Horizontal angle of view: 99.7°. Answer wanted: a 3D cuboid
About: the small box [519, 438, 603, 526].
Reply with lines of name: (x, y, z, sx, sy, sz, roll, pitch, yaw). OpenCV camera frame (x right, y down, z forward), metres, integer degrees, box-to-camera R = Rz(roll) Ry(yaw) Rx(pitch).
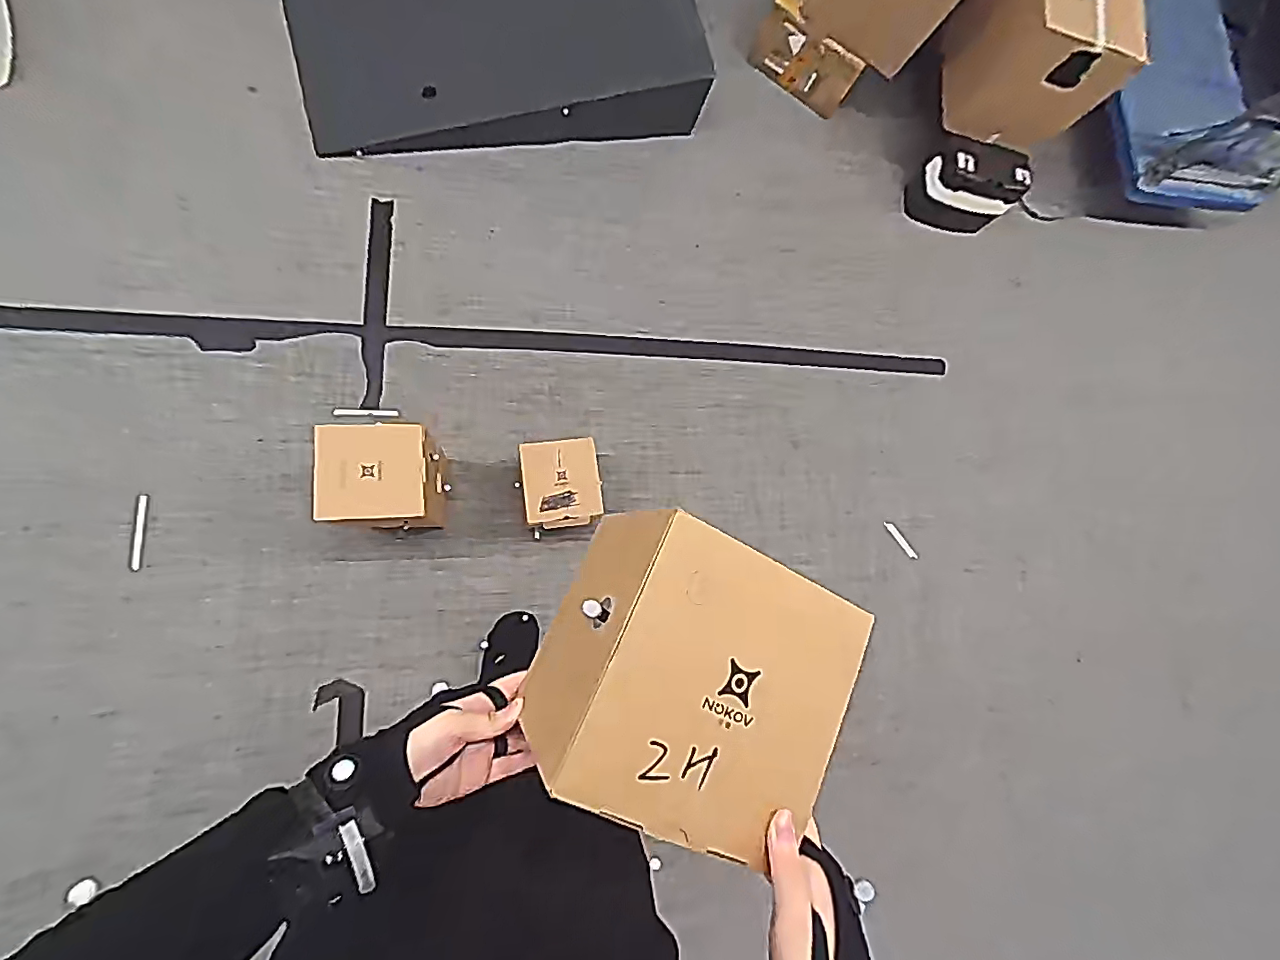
small box: (-0.184, 0.011, 1.225, 0.168, 0.176, 0.179, -6, 83, -15)

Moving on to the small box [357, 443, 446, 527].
small box: (-0.509, 0.013, 1.144, 0.179, 0.176, 0.168, 1, 82, -14)

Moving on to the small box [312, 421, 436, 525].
small box: (-0.472, -0.007, 0.986, 0.179, 0.176, 0.168, -1, 82, -13)

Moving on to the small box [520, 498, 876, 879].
small box: (0.027, 0.130, 0.394, 0.168, 0.176, 0.179, 30, 76, -14)
